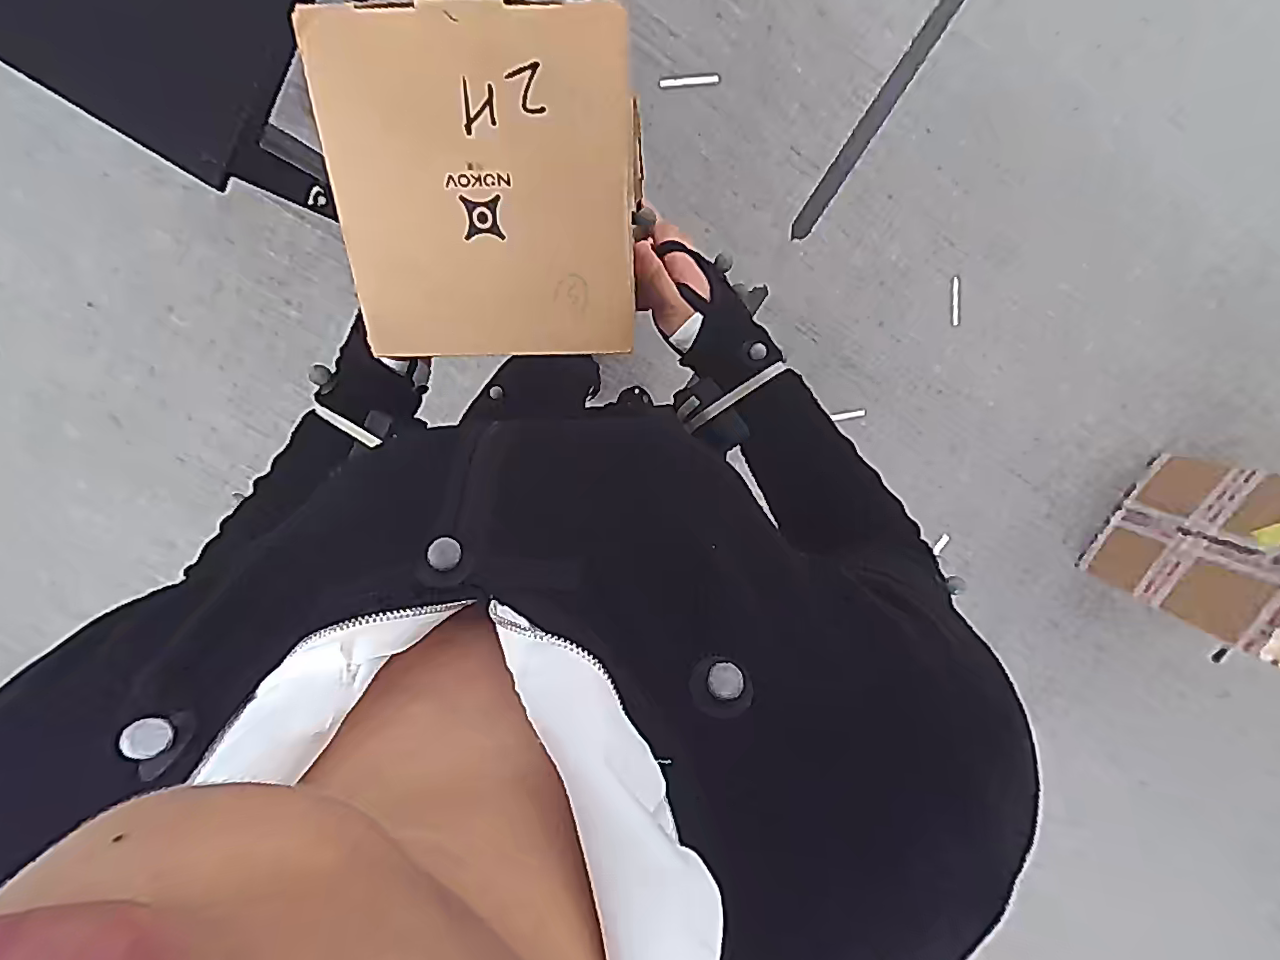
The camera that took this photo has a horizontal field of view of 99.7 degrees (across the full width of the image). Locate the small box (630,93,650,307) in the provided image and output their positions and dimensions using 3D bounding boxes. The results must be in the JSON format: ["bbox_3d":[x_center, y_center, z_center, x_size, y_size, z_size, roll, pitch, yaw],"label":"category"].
[{"bbox_3d":[-0.083,-0.262,0.529,0.179,0.176,0.168,-3,116,2],"label":"small box"}]

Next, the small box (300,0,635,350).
[{"bbox_3d":[-0.088,-0.197,0.377,0.168,0.176,0.179,-1,116,0],"label":"small box"}]
